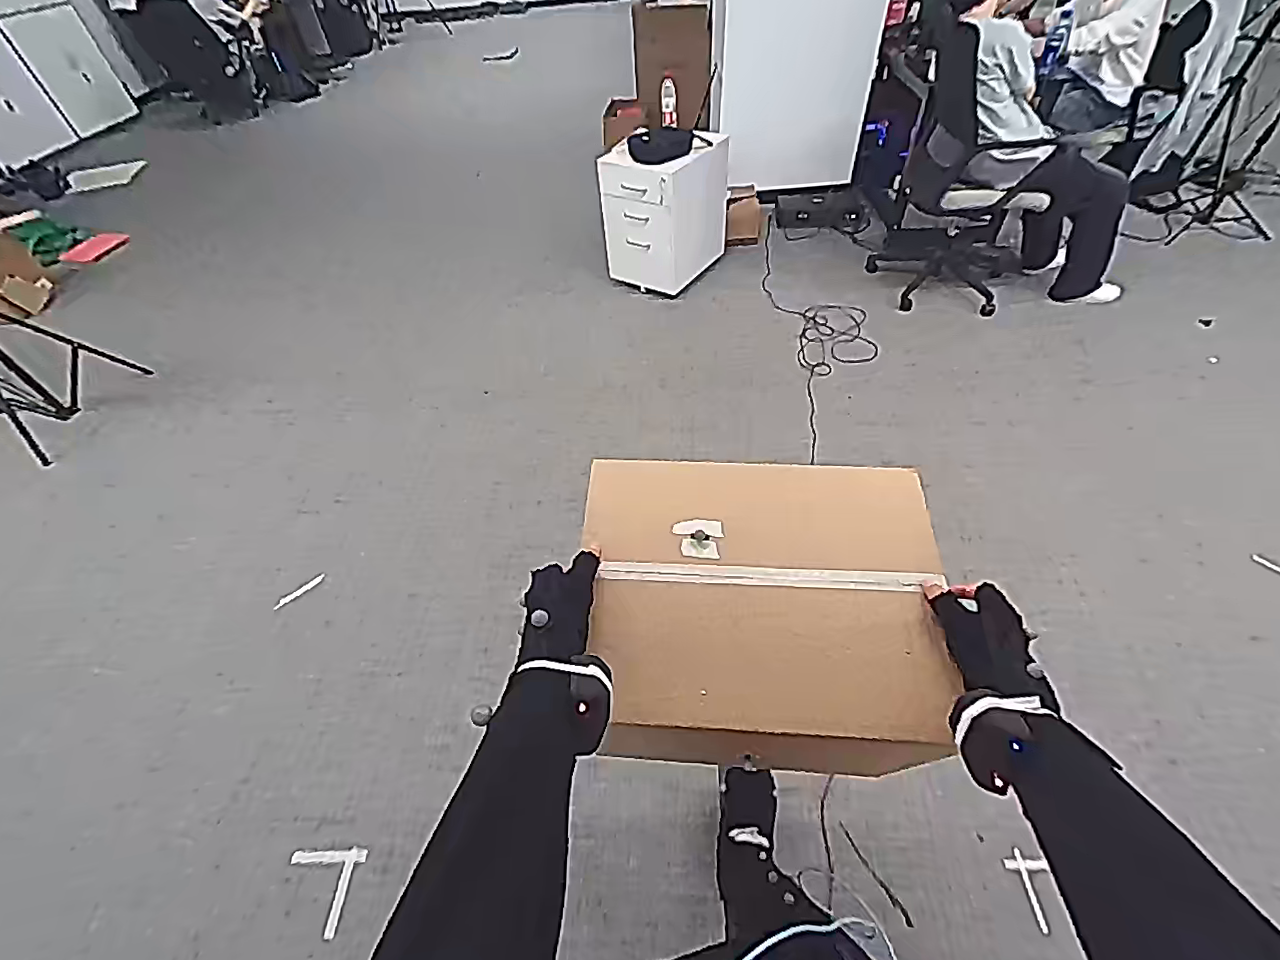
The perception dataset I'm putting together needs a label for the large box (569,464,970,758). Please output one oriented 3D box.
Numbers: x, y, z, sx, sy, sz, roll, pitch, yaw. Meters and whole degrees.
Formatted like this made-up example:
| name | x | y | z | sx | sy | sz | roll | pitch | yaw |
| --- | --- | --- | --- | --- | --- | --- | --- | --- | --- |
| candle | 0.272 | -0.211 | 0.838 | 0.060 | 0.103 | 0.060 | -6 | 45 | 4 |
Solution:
| name | x | y | z | sx | sy | sz | roll | pitch | yaw |
| --- | --- | --- | --- | --- | --- | --- | --- | --- | --- |
| large box | 0.142 | 0.190 | 0.742 | 0.408 | 0.320 | 0.320 | 1 | 56 | 5 |
